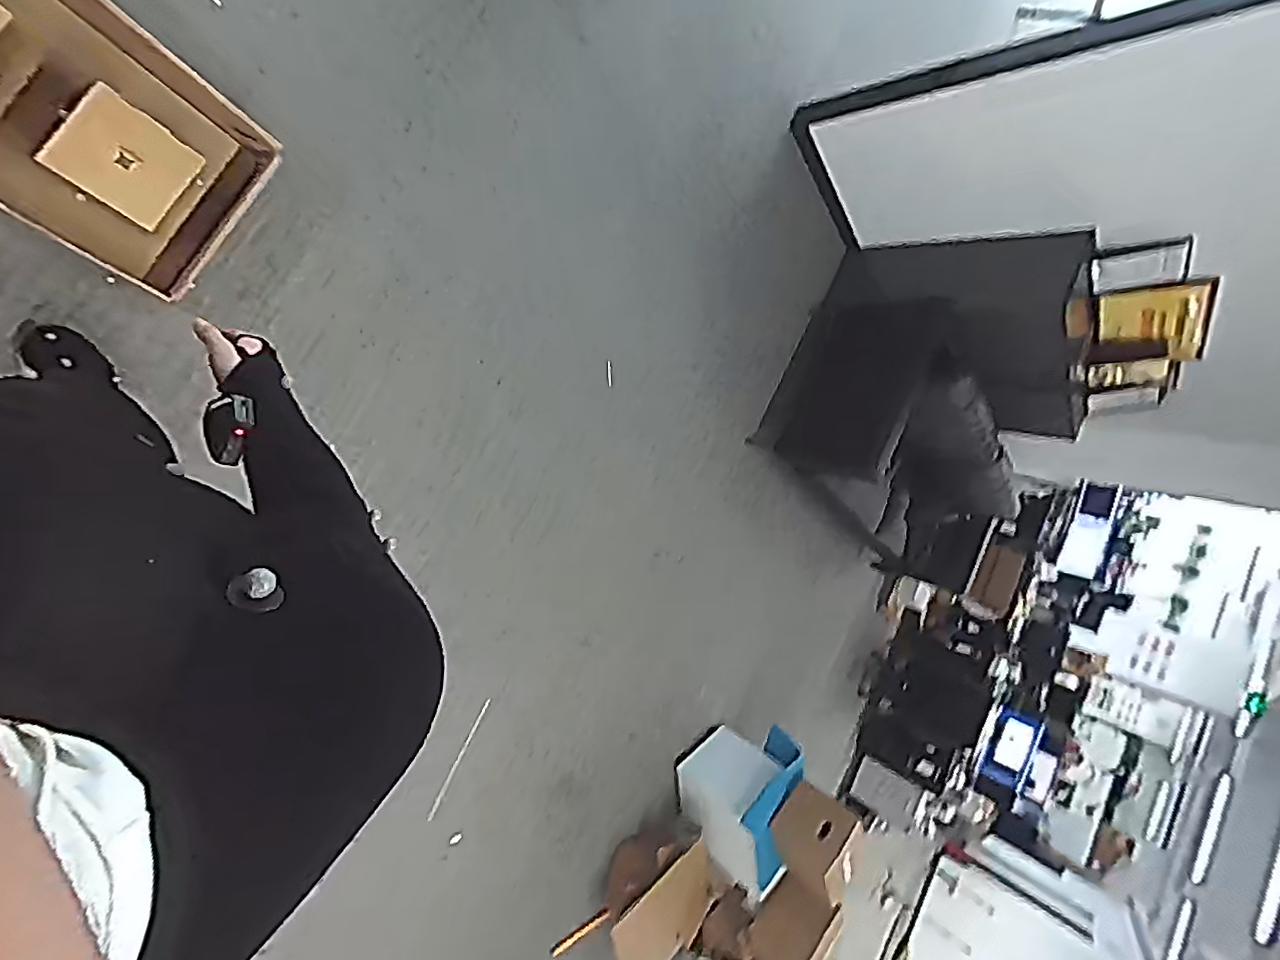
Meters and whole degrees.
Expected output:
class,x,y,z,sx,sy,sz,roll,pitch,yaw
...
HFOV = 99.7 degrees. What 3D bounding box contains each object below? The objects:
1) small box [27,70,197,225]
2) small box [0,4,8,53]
class,x,y,z,sx,sy,sz,roll,pitch,yaw
small box,-0.981,-0.608,1.018,0.168,0.176,0.179,36,78,-45
small box,-1.130,-0.722,0.826,0.168,0.176,0.179,38,77,-46
